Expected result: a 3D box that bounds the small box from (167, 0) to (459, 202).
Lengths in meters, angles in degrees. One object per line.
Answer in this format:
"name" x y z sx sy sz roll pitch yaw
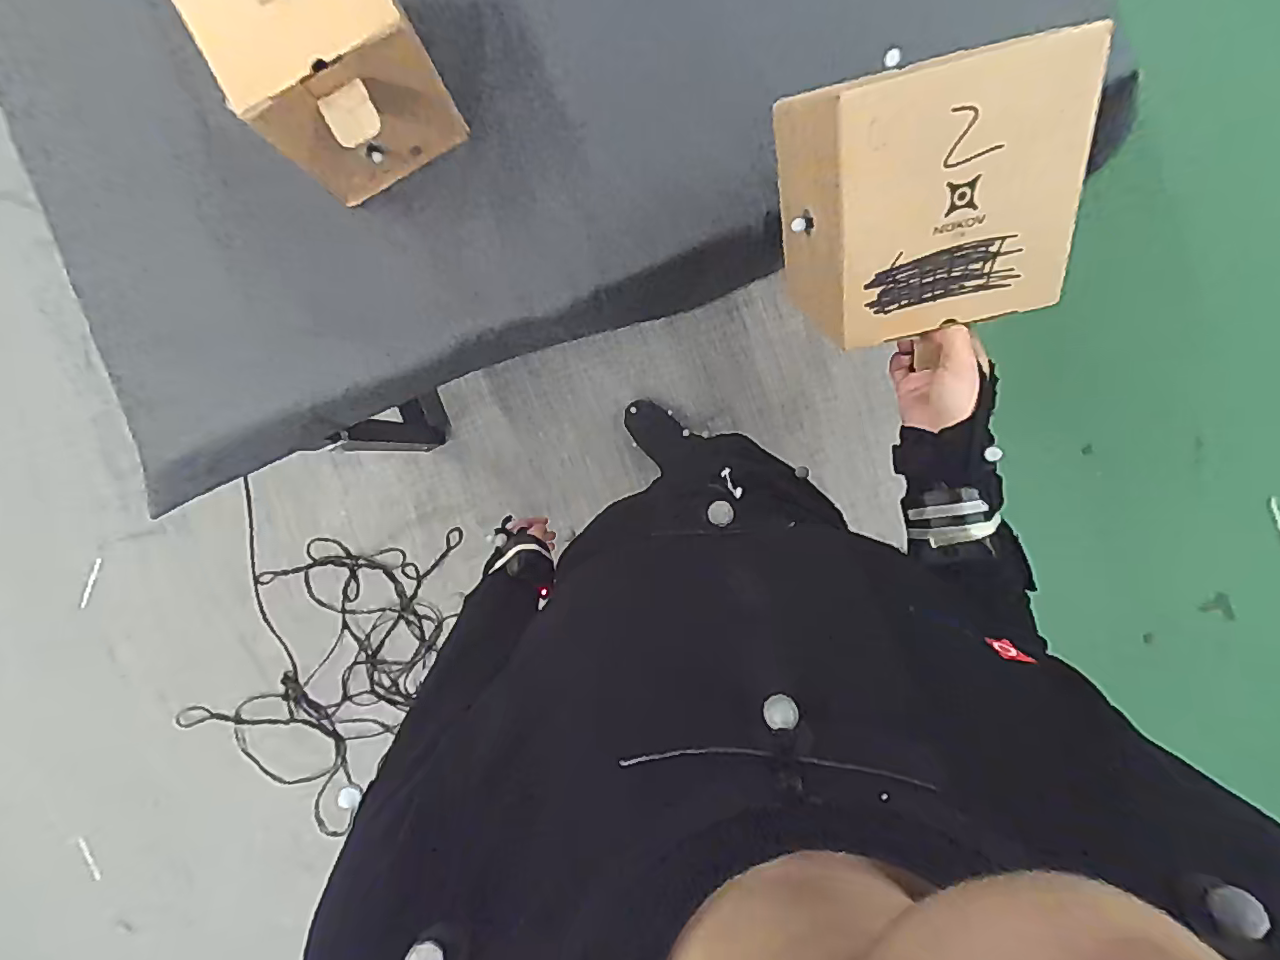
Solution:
"small box" -0.313 -0.421 0.534 0.168 0.176 0.179 -30 92 2
